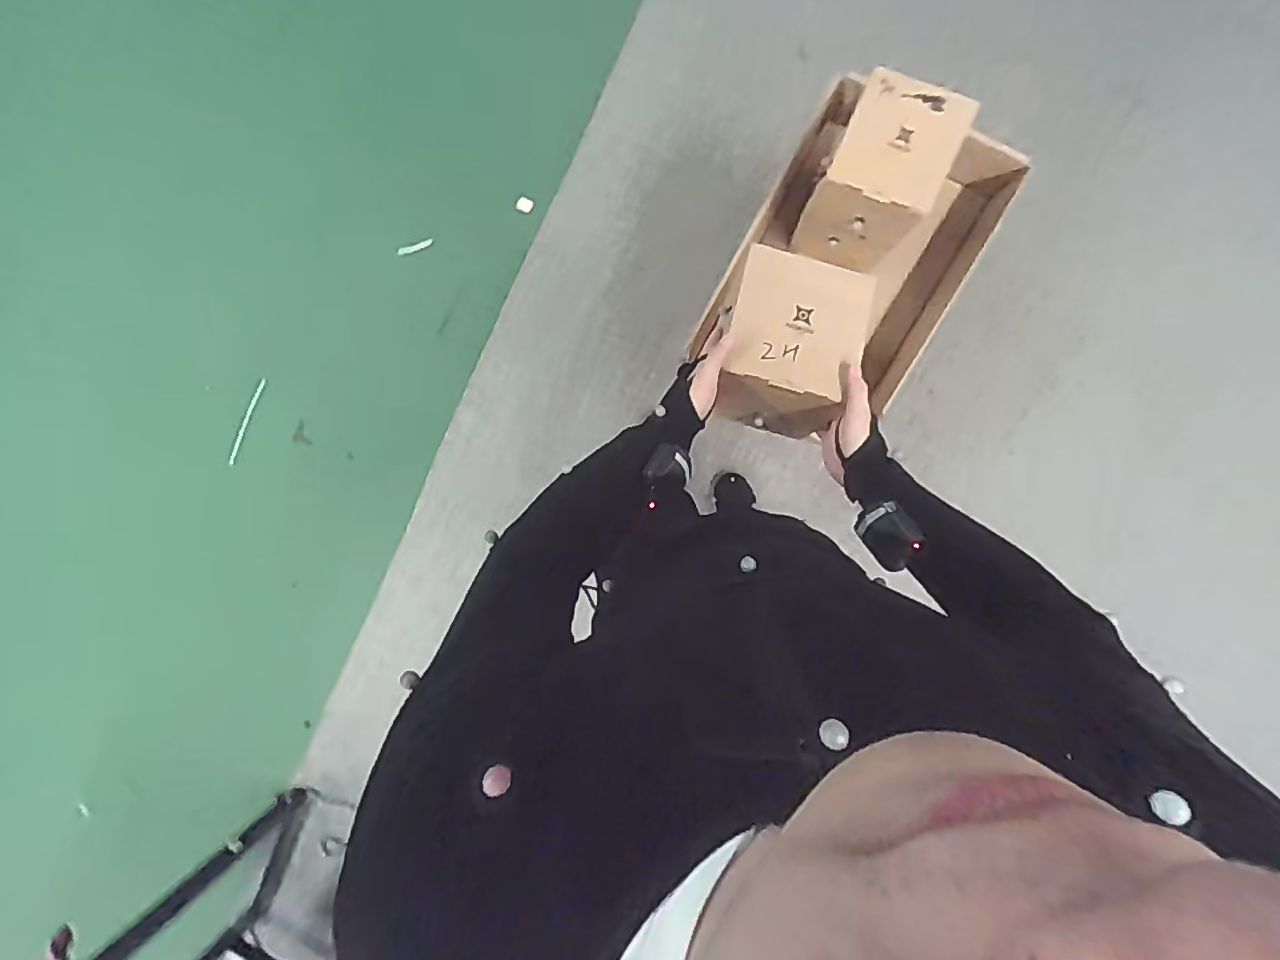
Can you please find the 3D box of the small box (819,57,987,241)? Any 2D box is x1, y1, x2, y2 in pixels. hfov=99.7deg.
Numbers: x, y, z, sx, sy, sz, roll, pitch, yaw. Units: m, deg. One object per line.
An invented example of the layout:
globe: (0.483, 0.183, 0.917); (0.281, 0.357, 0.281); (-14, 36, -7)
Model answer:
small box: (0.408, -0.520, 0.878); (0.168, 0.176, 0.179); (25, 99, 5)

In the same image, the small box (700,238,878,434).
small box: (0.187, -0.180, 0.724); (0.168, 0.176, 0.179); (15, 80, -1)
